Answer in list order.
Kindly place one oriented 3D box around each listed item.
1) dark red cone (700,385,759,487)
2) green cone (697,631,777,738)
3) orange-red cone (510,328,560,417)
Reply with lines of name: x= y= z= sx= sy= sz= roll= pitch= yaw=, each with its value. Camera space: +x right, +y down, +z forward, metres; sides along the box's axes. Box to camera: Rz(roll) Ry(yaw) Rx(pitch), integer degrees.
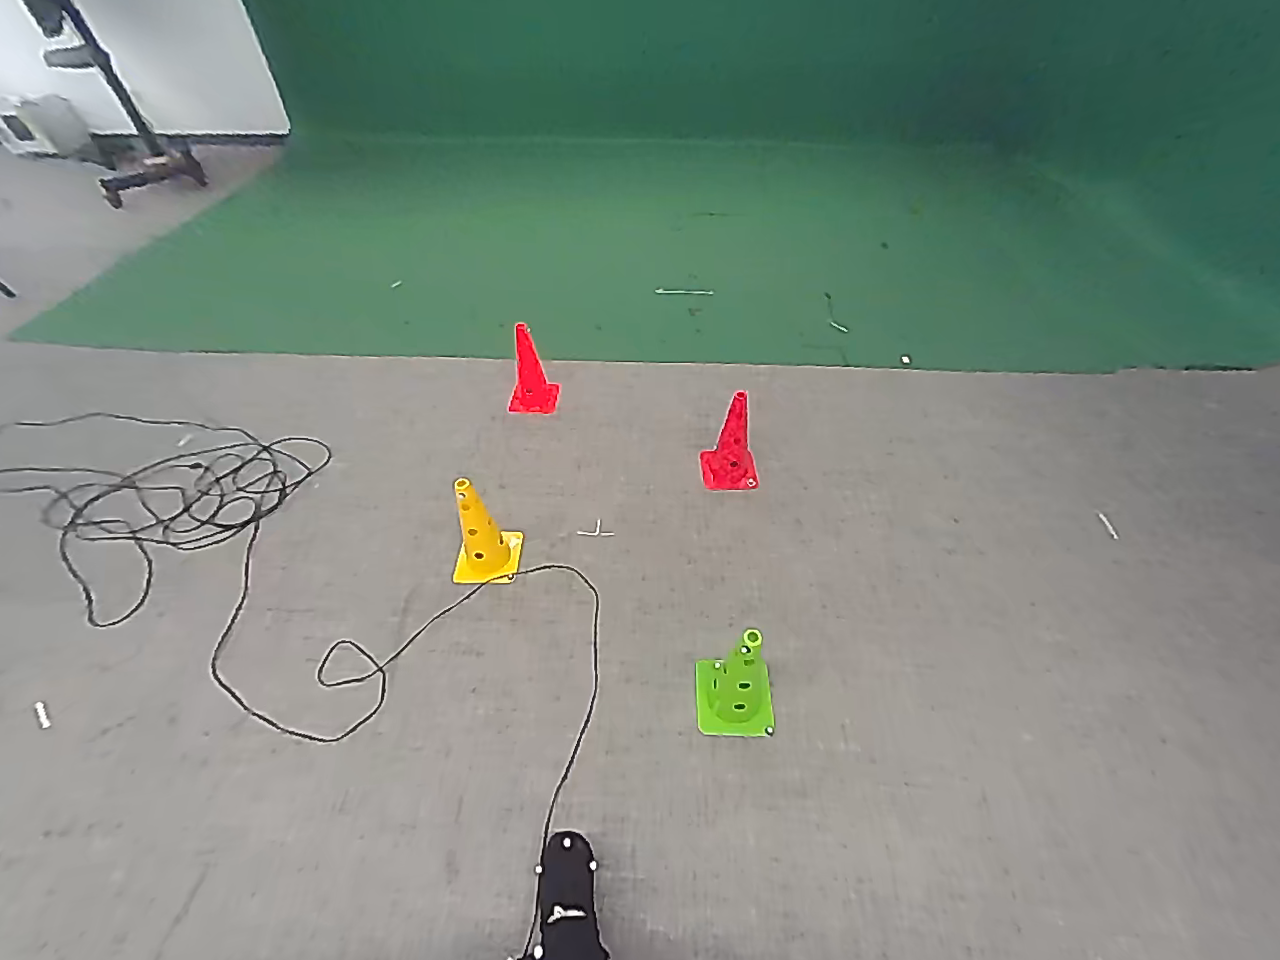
dark red cone: x=0.329 y=-0.163 z=1.886 sx=0.202 sy=0.394 sz=0.201 roll=-2 pitch=46 yaw=-1
green cone: x=0.252 y=0.471 z=1.329 sx=0.202 sy=0.368 sz=0.200 roll=0 pitch=46 yaw=2
orange-red cone: x=-0.455 y=-0.452 z=2.202 sx=0.198 sy=0.360 sz=0.199 roll=1 pitch=48 yaw=4
